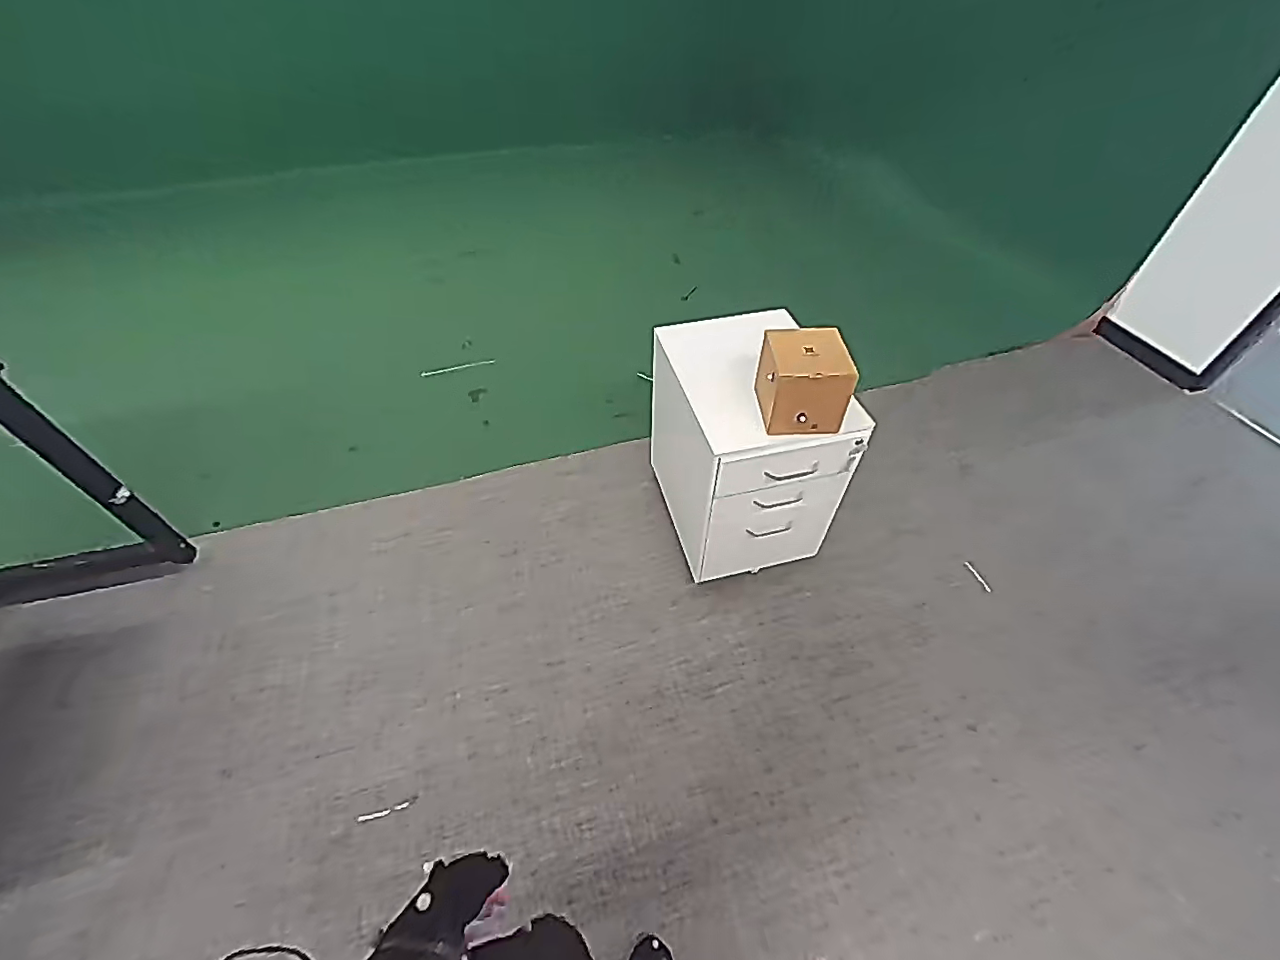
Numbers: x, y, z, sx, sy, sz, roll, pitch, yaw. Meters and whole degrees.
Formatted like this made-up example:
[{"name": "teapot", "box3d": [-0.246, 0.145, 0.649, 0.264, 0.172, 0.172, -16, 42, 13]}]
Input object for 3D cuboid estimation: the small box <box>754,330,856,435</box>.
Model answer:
[{"name": "small box", "box3d": [0.362, -0.220, 1.224, 0.168, 0.176, 0.179, -2, 48, -1]}]
